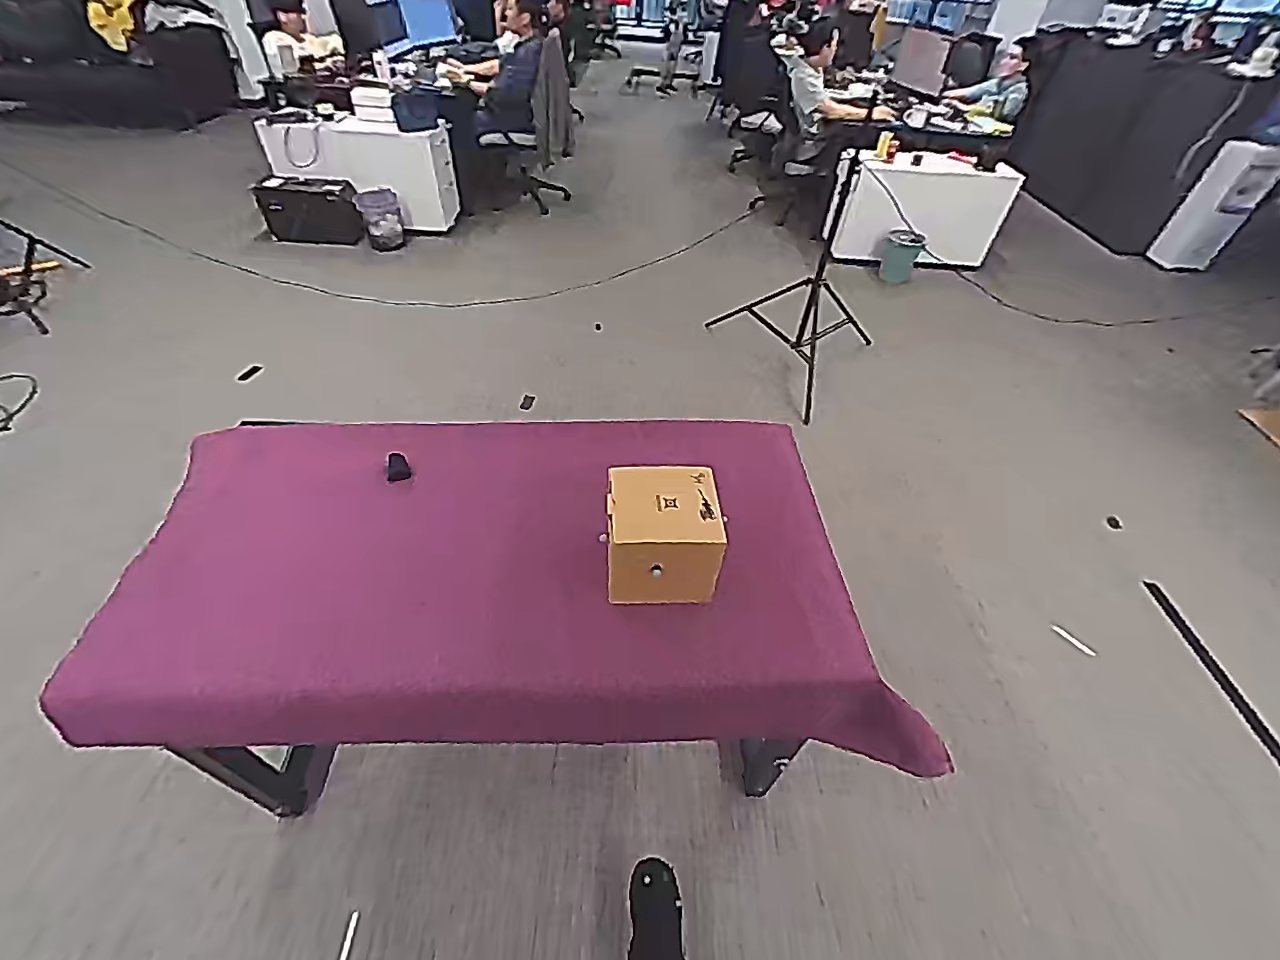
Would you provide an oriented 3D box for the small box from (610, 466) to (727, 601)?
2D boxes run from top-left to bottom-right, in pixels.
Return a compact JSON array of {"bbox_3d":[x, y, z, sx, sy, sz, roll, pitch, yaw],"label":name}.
[{"bbox_3d":[0.040,0.093,0.917,0.179,0.176,0.168,-1,45,-4],"label":"small box"}]
